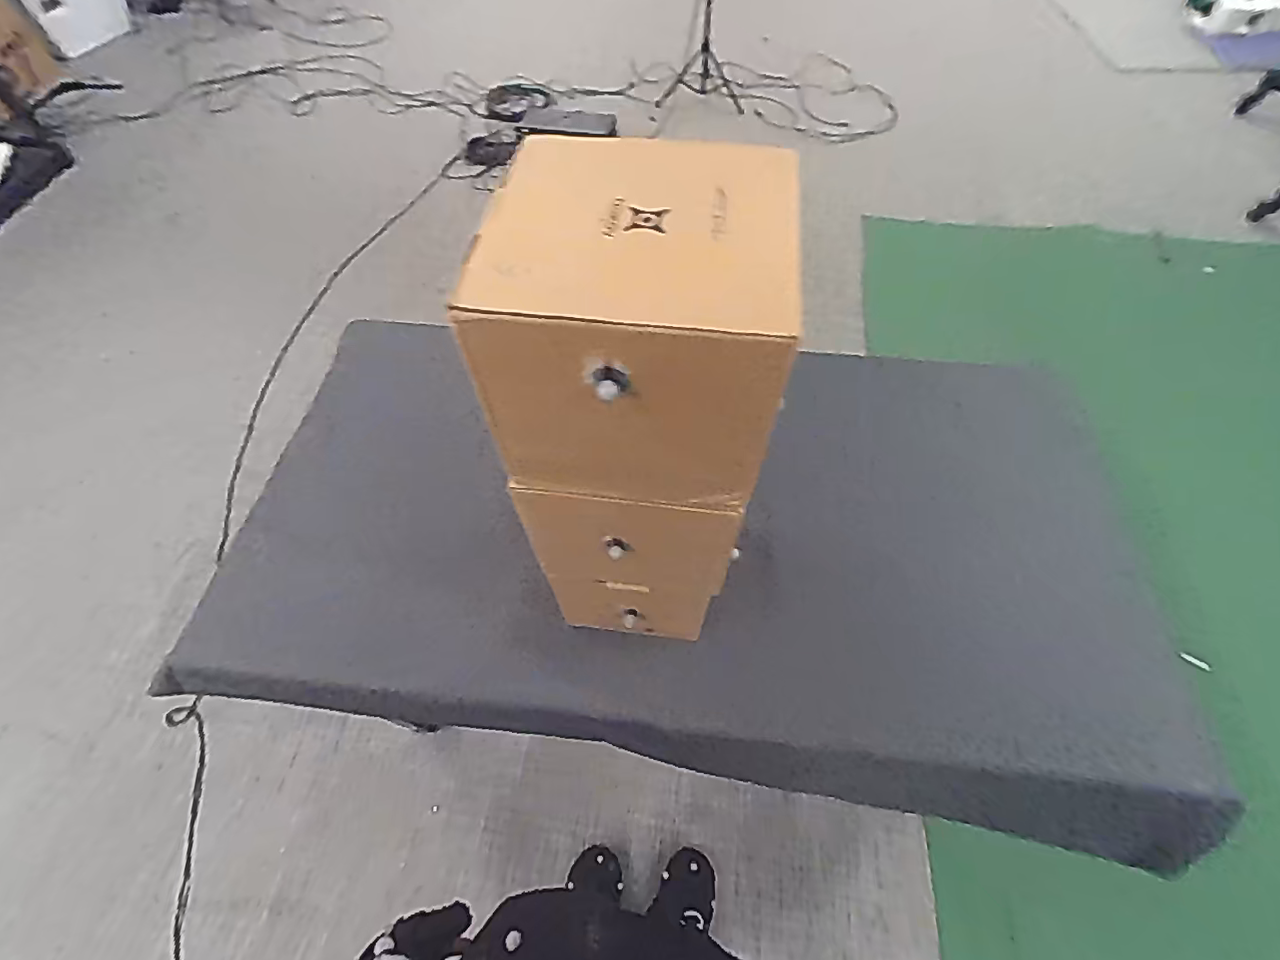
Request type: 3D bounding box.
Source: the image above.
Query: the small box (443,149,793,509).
[{"bbox_3d":[-0.001,-0.094,0.370,0.179,0.176,0.168,7,59,4],"label":"small box"}]

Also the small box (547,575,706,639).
[{"bbox_3d":[-0.001,0.079,0.647,0.168,0.176,0.179,6,58,5],"label":"small box"}]

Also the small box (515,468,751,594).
[{"bbox_3d":[0.000,-0.002,0.503,0.179,0.176,0.168,4,58,3],"label":"small box"}]
